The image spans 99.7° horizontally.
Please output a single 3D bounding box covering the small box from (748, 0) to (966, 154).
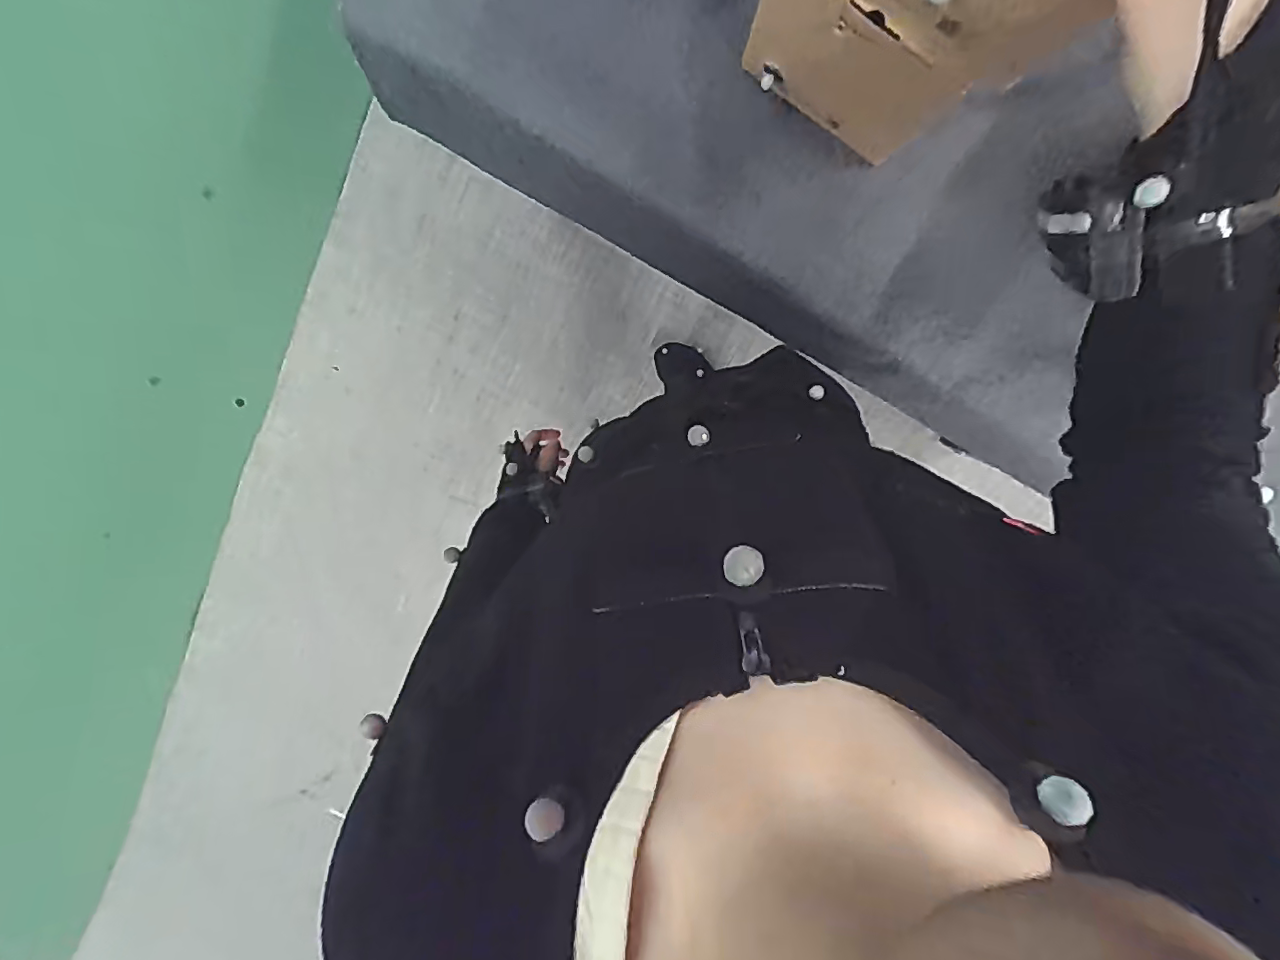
[{"bbox_3d":[0.202,-0.401,0.426,0.168,0.176,0.179,32,103,-6],"label":"small box"}]

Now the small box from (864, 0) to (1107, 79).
[{"bbox_3d":[0.213,-0.360,0.266,0.168,0.176,0.179,29,103,-5],"label":"small box"}]

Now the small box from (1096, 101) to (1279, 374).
[{"bbox_3d":[0.554,-0.201,0.463,0.168,0.176,0.179,30,105,-5],"label":"small box"}]
